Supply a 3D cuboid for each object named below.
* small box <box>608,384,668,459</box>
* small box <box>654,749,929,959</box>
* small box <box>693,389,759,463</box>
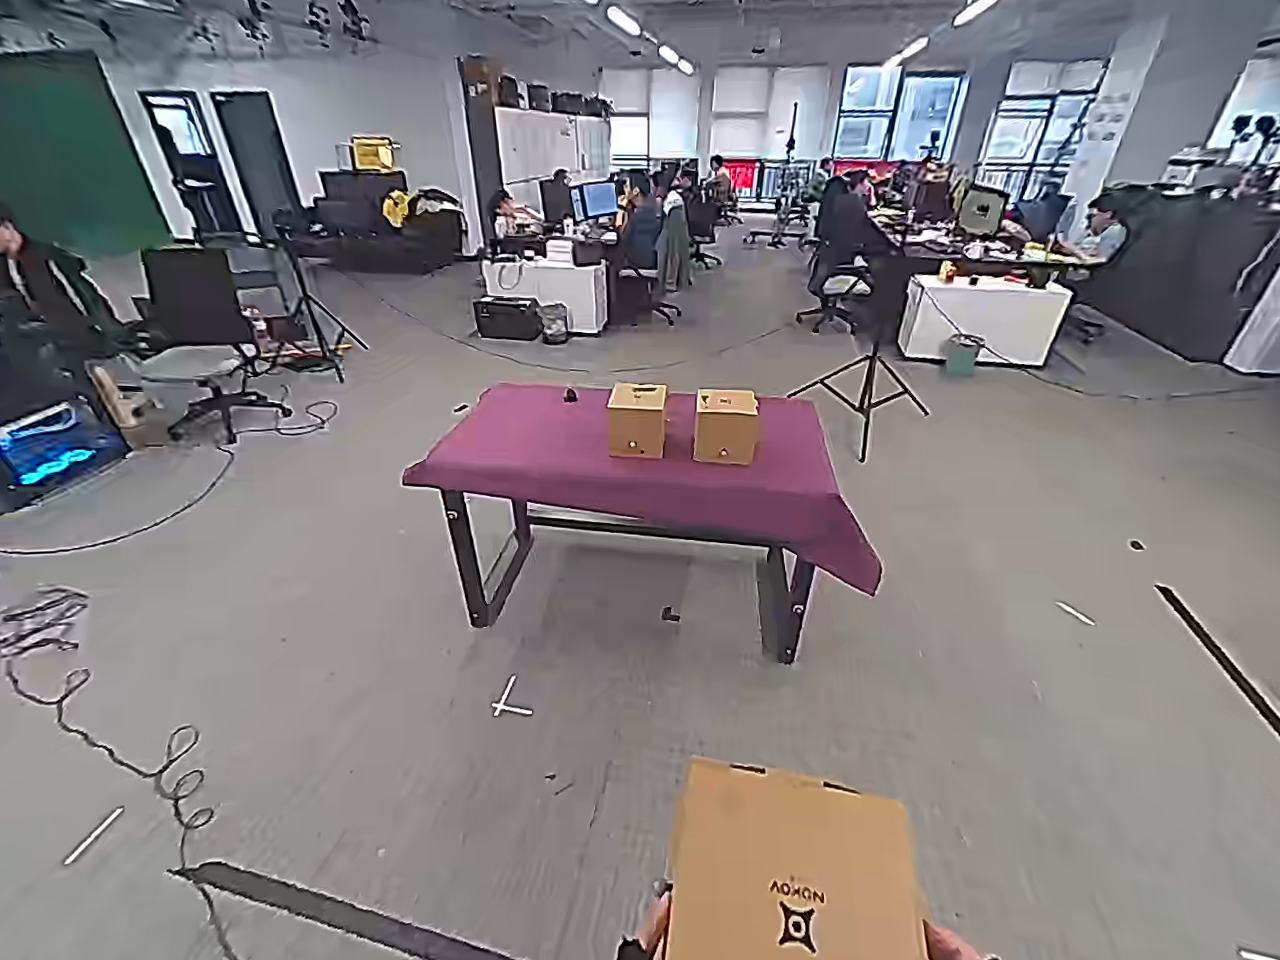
[{"bbox_3d":[-0.004,-0.184,1.671,0.168,0.176,0.179,3,33,5],"label":"small box"},{"bbox_3d":[0.101,0.339,0.412,0.168,0.176,0.179,8,47,8],"label":"small box"},{"bbox_3d":[0.257,-0.163,1.639,0.179,0.176,0.168,4,32,5],"label":"small box"}]
